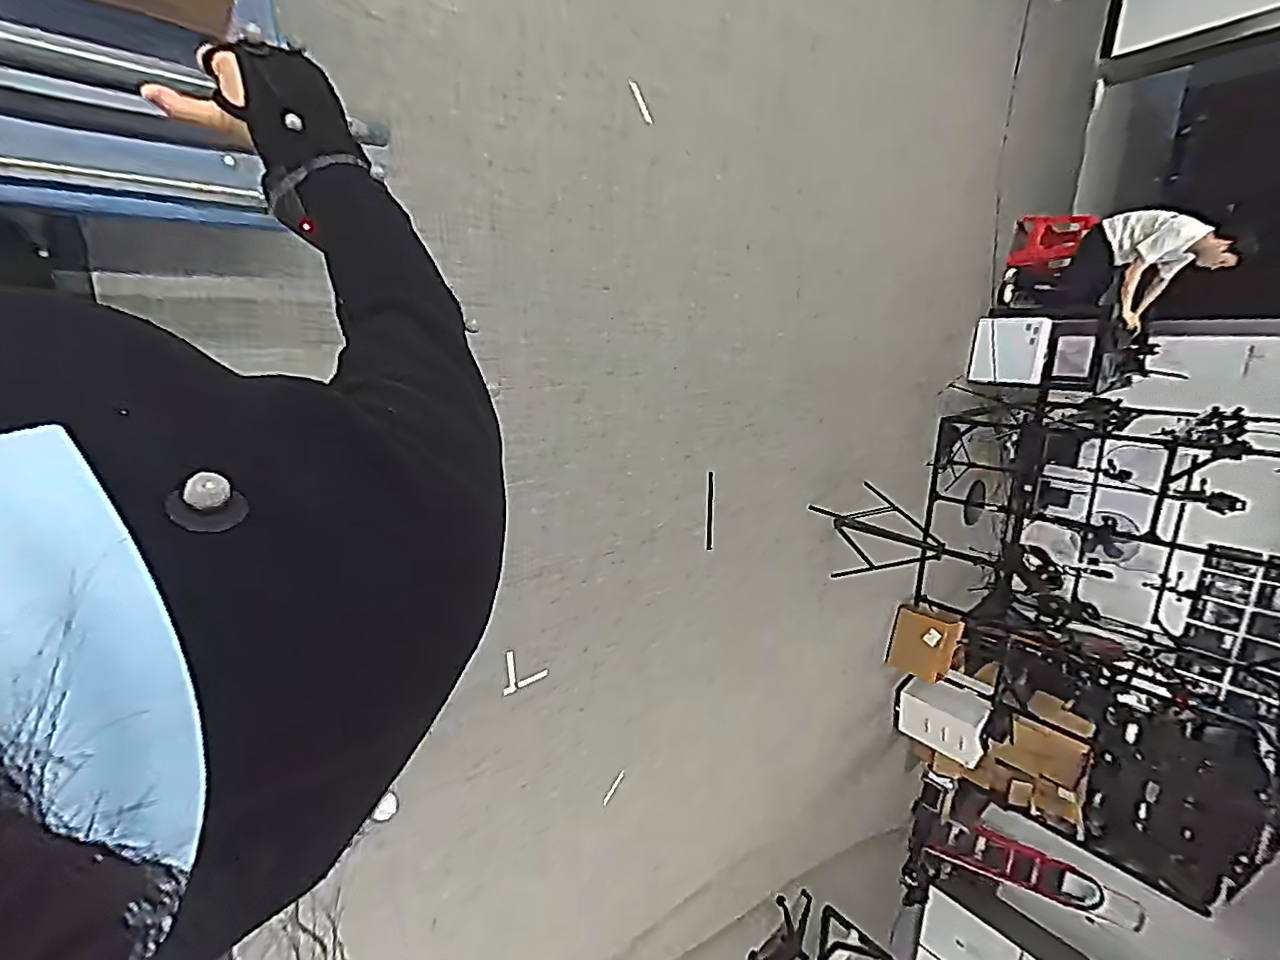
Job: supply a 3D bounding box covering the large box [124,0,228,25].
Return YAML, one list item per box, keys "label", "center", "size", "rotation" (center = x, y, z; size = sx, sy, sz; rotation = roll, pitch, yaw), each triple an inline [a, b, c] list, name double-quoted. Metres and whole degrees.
- label: "large box"
  center: [-0.796, -0.879, 0.686]
  size: [0.408, 0.320, 0.320]
  rotation: [-12, 109, -39]
